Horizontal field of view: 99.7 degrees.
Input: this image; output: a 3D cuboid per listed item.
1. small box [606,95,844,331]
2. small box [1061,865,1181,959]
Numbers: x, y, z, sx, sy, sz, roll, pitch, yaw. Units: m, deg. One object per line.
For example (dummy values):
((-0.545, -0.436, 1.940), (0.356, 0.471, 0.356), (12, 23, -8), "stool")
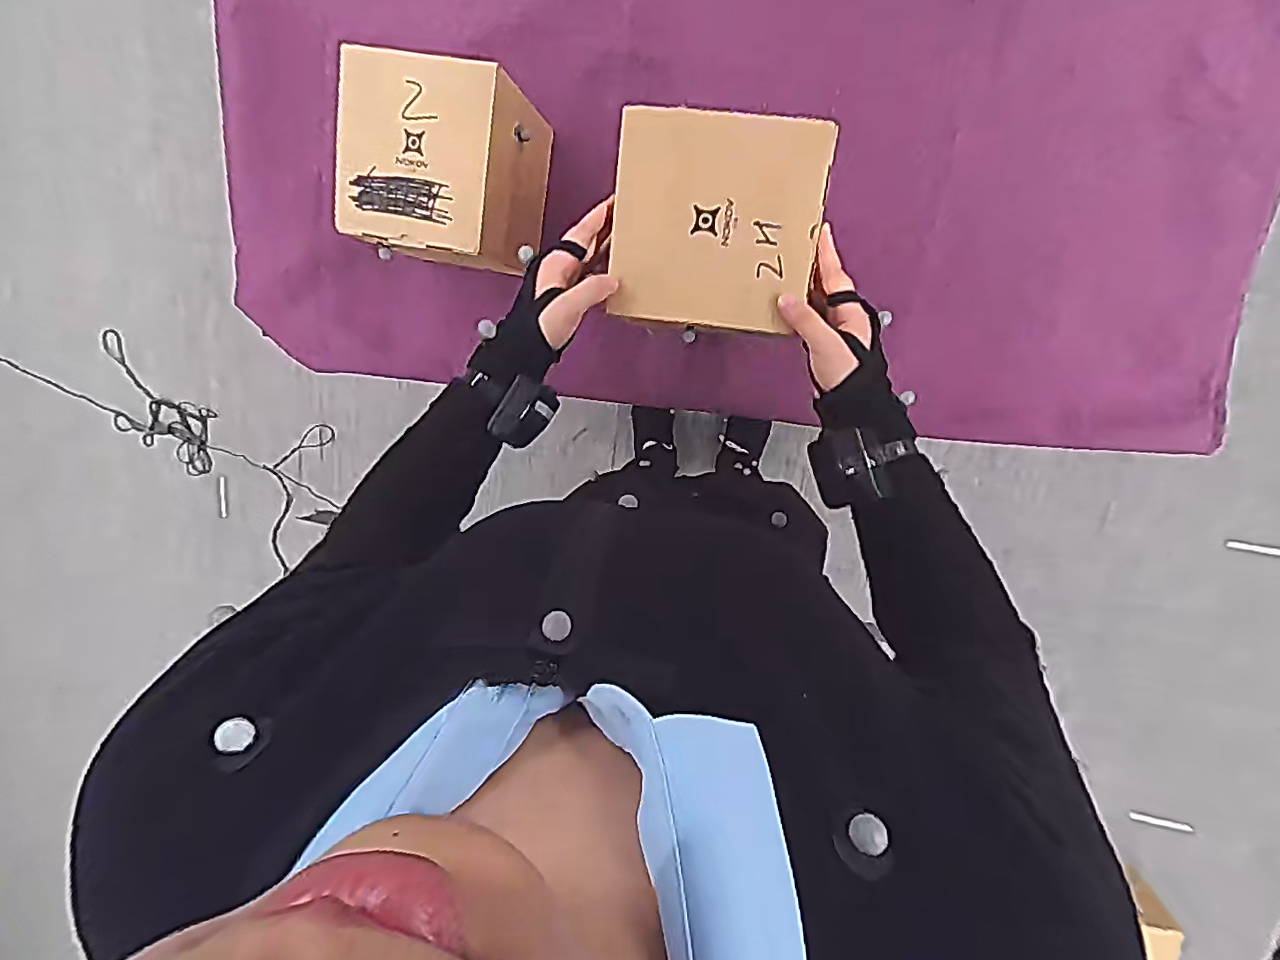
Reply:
((0.073, -0.239, 0.527), (0.179, 0.176, 0.168), (8, 105, 4), "small box")
((1.308, 1.204, 1.487), (0.179, 0.176, 0.168), (3, 103, 9), "small box")
